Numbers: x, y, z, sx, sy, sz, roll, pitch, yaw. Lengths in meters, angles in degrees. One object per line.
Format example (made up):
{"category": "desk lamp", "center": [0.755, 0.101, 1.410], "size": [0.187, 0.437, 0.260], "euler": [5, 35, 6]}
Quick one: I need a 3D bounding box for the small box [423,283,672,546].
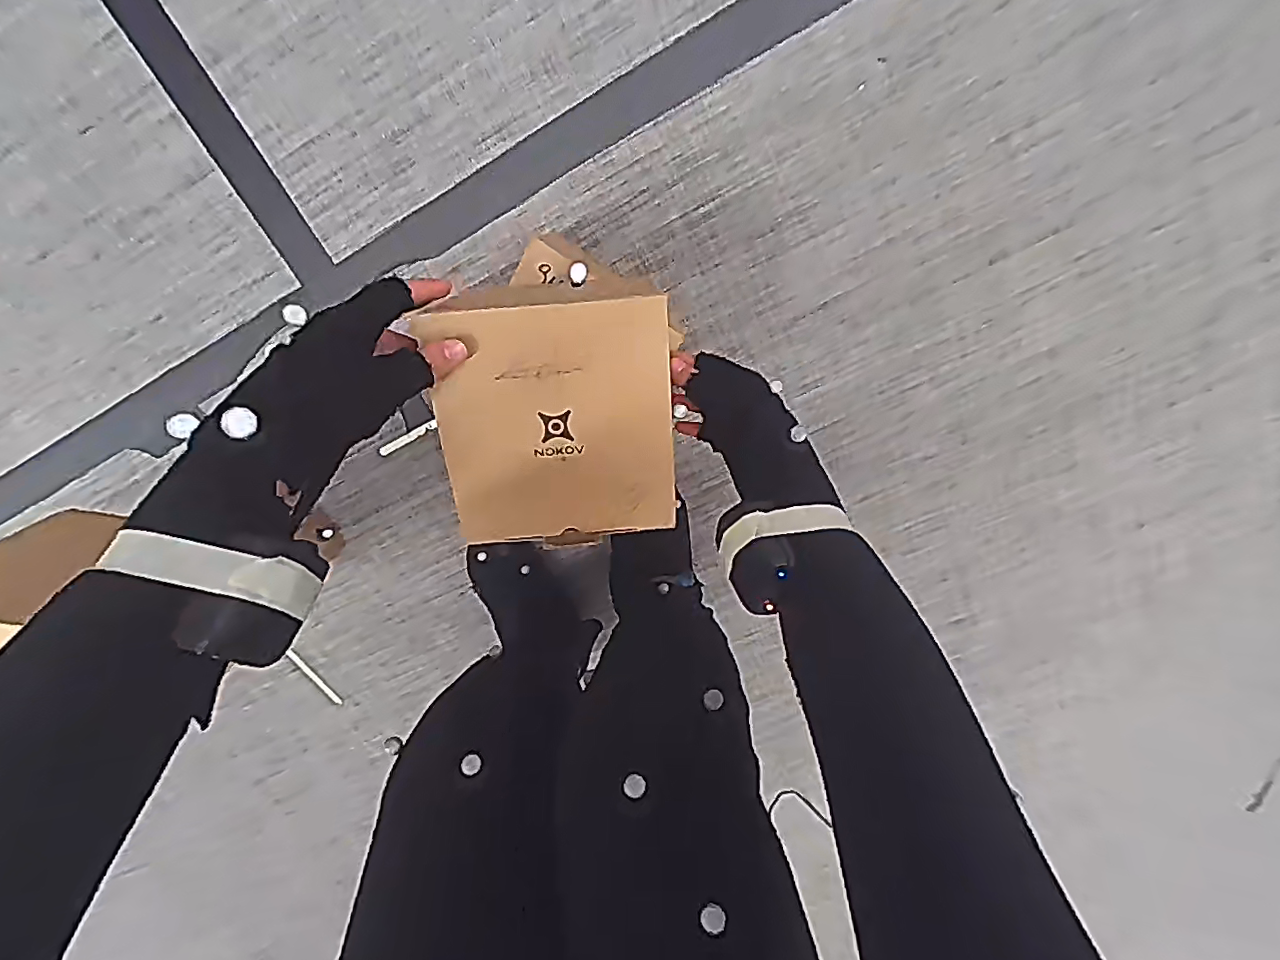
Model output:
{"category": "small box", "center": [-0.061, -0.064, 0.462], "size": [0.168, 0.176, 0.179], "euler": [-4, 115, -2]}

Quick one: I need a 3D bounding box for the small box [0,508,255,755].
{"category": "small box", "center": [-0.540, 0.150, 0.546], "size": [0.179, 0.176, 0.168], "euler": [10, 114, -5]}

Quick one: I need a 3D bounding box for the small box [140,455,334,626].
{"category": "small box", "center": [-0.538, 0.089, 0.703], "size": [0.179, 0.176, 0.168], "euler": [-22, 113, 10]}

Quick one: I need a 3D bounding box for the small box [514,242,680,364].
{"category": "small box", "center": [-0.075, -0.141, 0.606], "size": [0.168, 0.176, 0.179], "euler": [30, 111, -16]}
